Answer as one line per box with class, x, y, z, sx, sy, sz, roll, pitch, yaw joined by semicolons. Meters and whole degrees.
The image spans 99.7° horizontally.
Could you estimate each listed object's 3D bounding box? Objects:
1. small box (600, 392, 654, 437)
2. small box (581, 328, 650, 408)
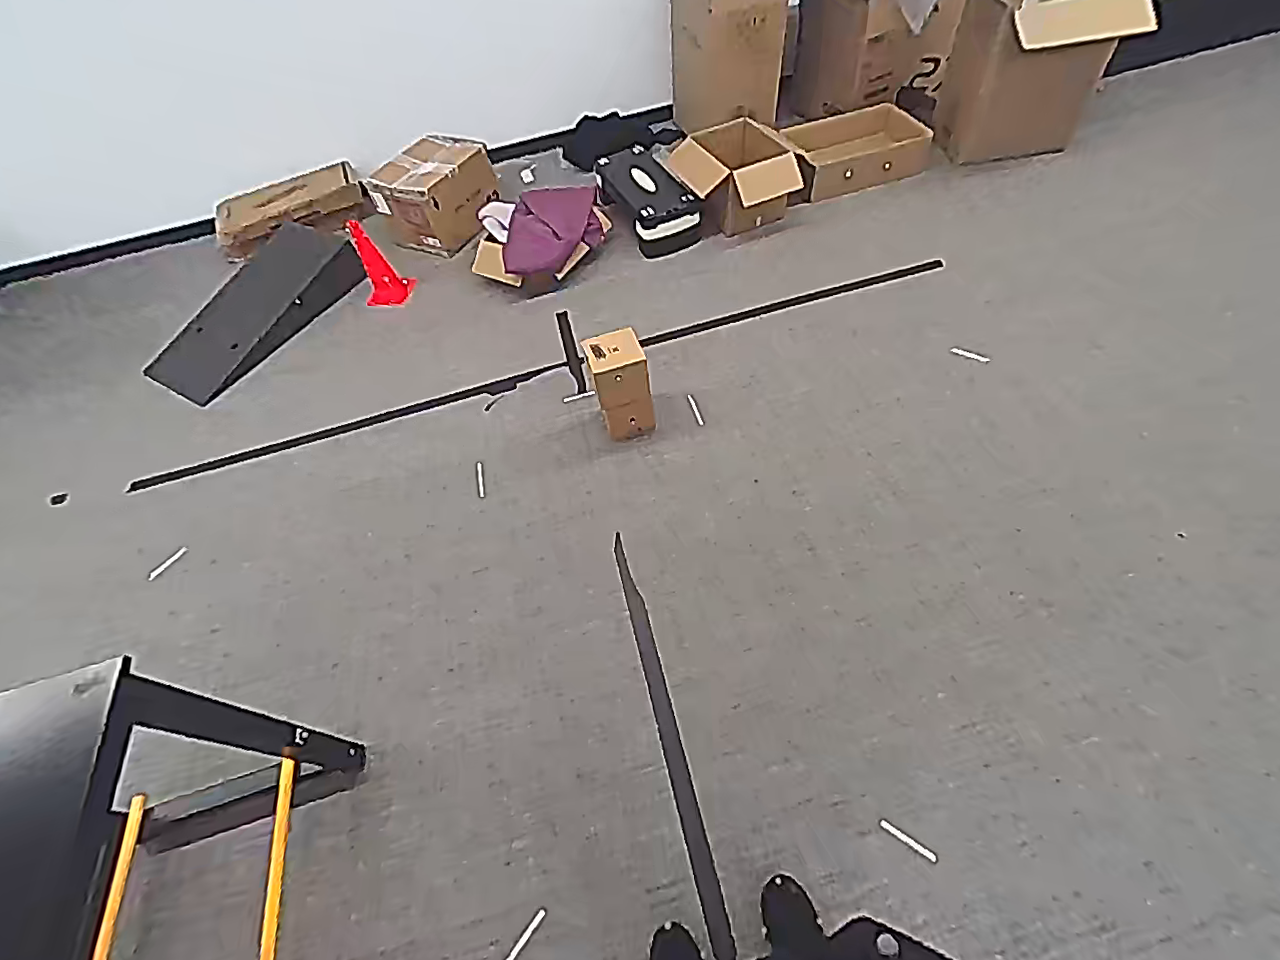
small box;-0.055;-0.271;1.900;0.168;0.176;0.179;-18;55;-5
small box;-0.078;-0.361;1.762;0.179;0.176;0.168;-17;55;-5
